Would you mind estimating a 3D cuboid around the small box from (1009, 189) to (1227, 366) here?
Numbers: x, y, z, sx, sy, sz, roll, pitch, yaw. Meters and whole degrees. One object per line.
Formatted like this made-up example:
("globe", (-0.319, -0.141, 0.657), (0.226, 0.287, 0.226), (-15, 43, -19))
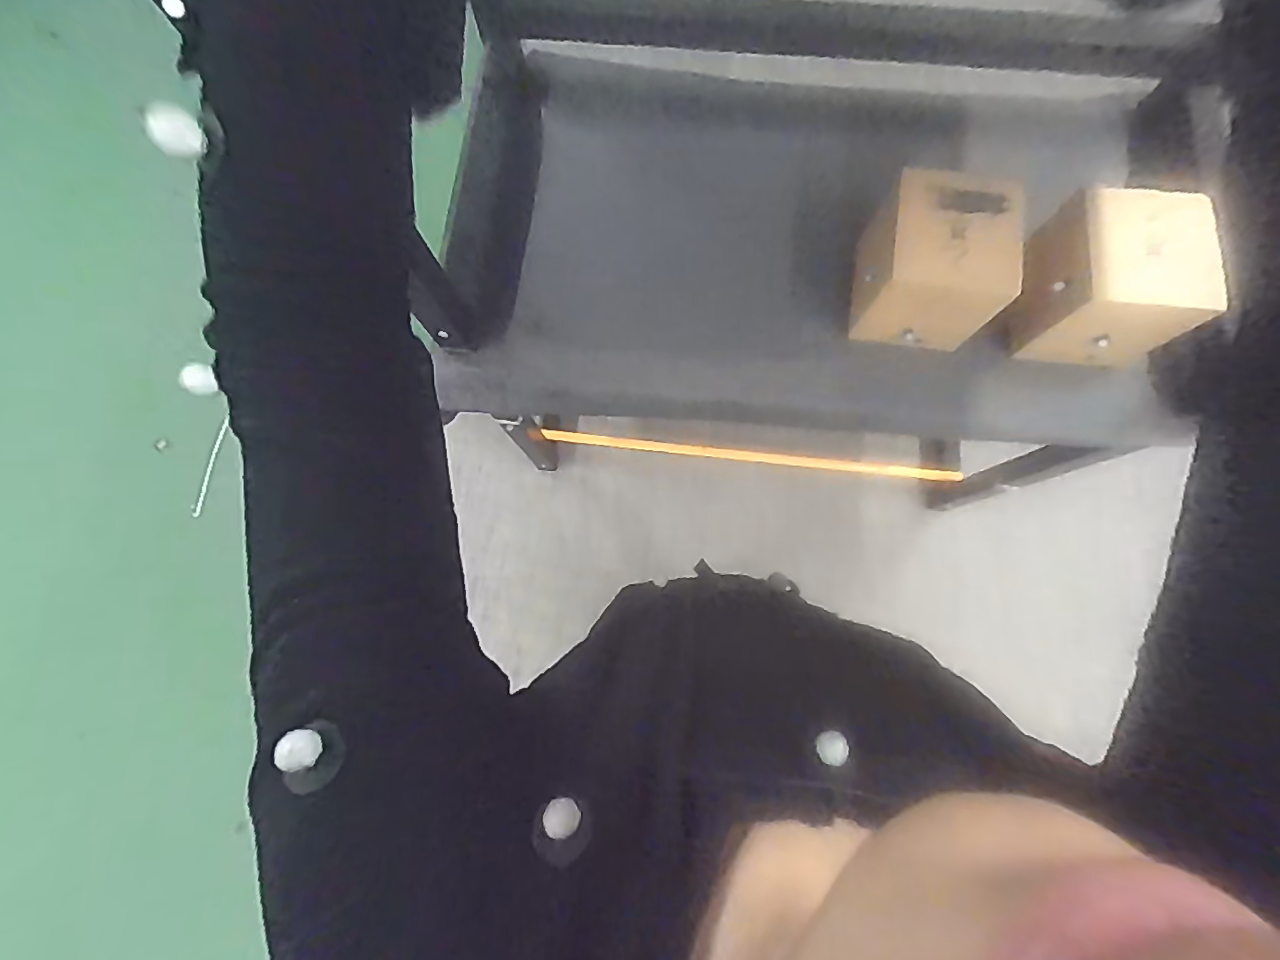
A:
("small box", (0.668, -0.281, 0.780), (0.168, 0.176, 0.179), (6, 76, 3))
